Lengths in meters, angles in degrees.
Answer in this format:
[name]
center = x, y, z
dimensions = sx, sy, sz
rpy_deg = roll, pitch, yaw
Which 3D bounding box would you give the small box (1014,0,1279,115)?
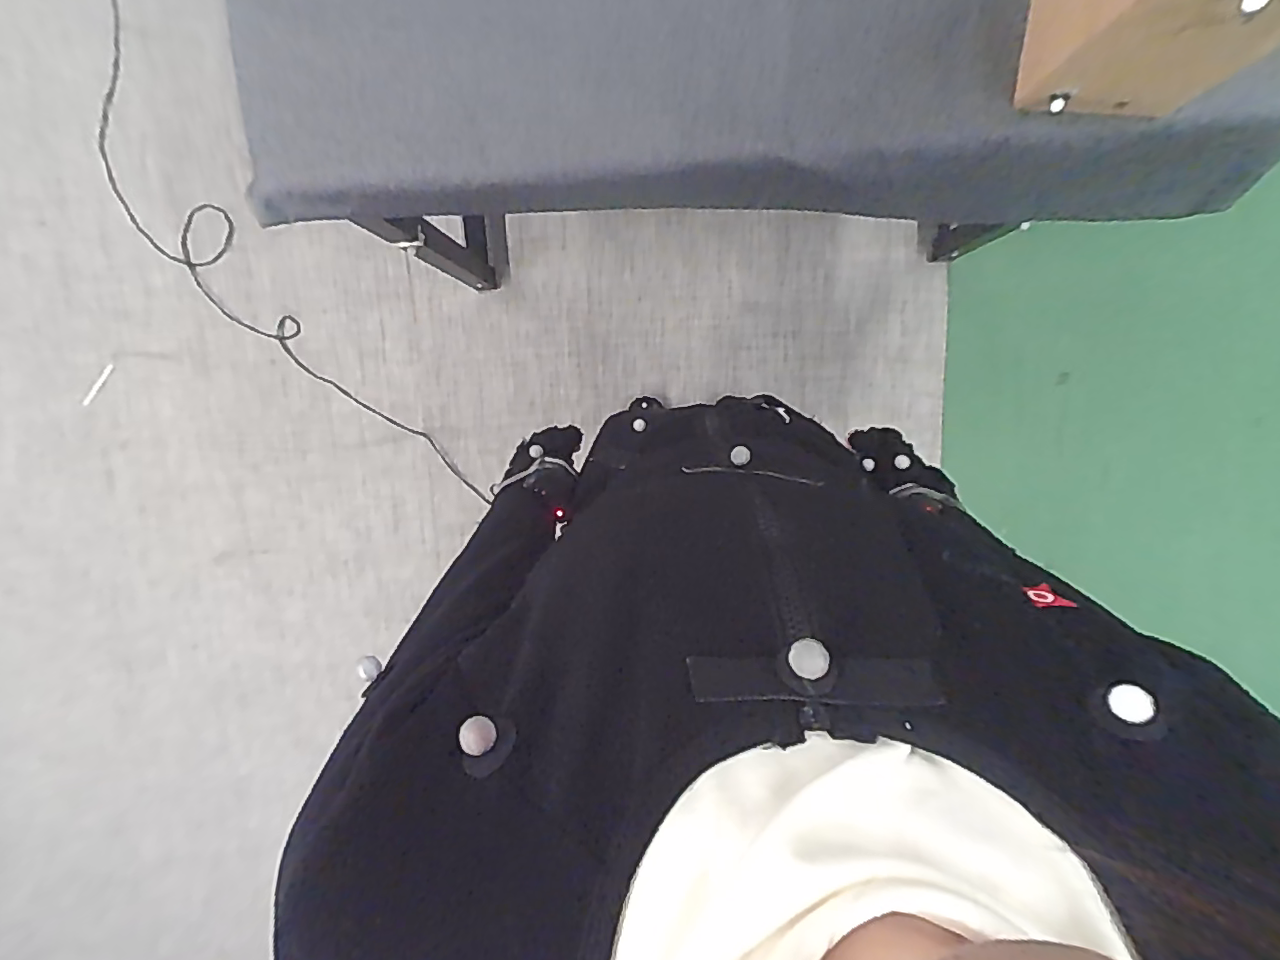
[small box]
center = 0.504, -0.489, 0.523
dimensions = 0.168, 0.176, 0.179
rpy_deg = 6, 98, 2
